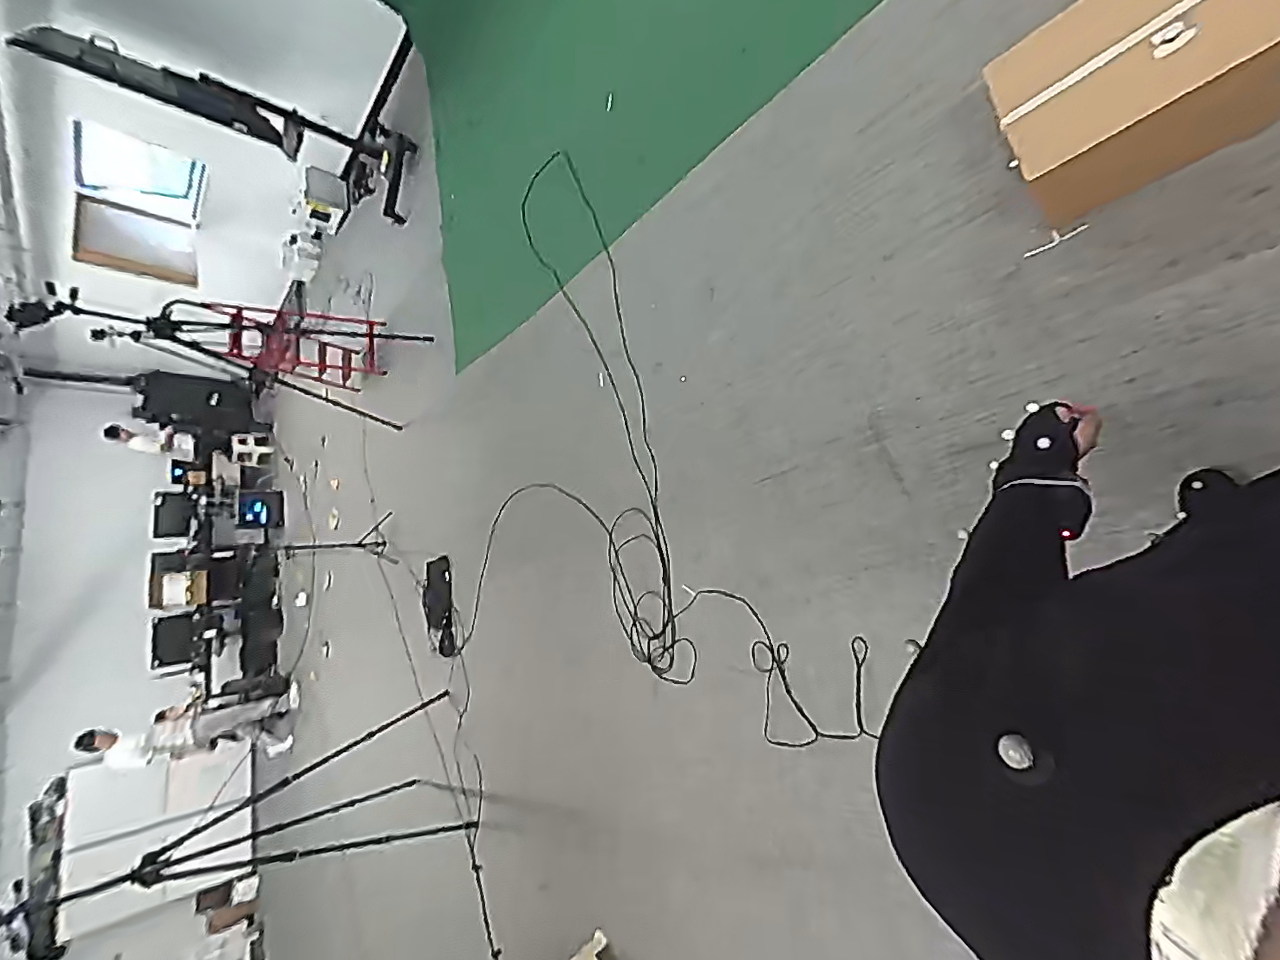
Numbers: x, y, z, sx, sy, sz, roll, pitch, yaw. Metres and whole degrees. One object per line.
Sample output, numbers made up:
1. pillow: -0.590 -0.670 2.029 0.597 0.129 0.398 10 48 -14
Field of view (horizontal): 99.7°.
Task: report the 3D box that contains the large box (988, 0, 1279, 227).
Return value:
1. large box: 1.055 -0.844 1.170 0.408 0.320 0.320 -22 72 42
